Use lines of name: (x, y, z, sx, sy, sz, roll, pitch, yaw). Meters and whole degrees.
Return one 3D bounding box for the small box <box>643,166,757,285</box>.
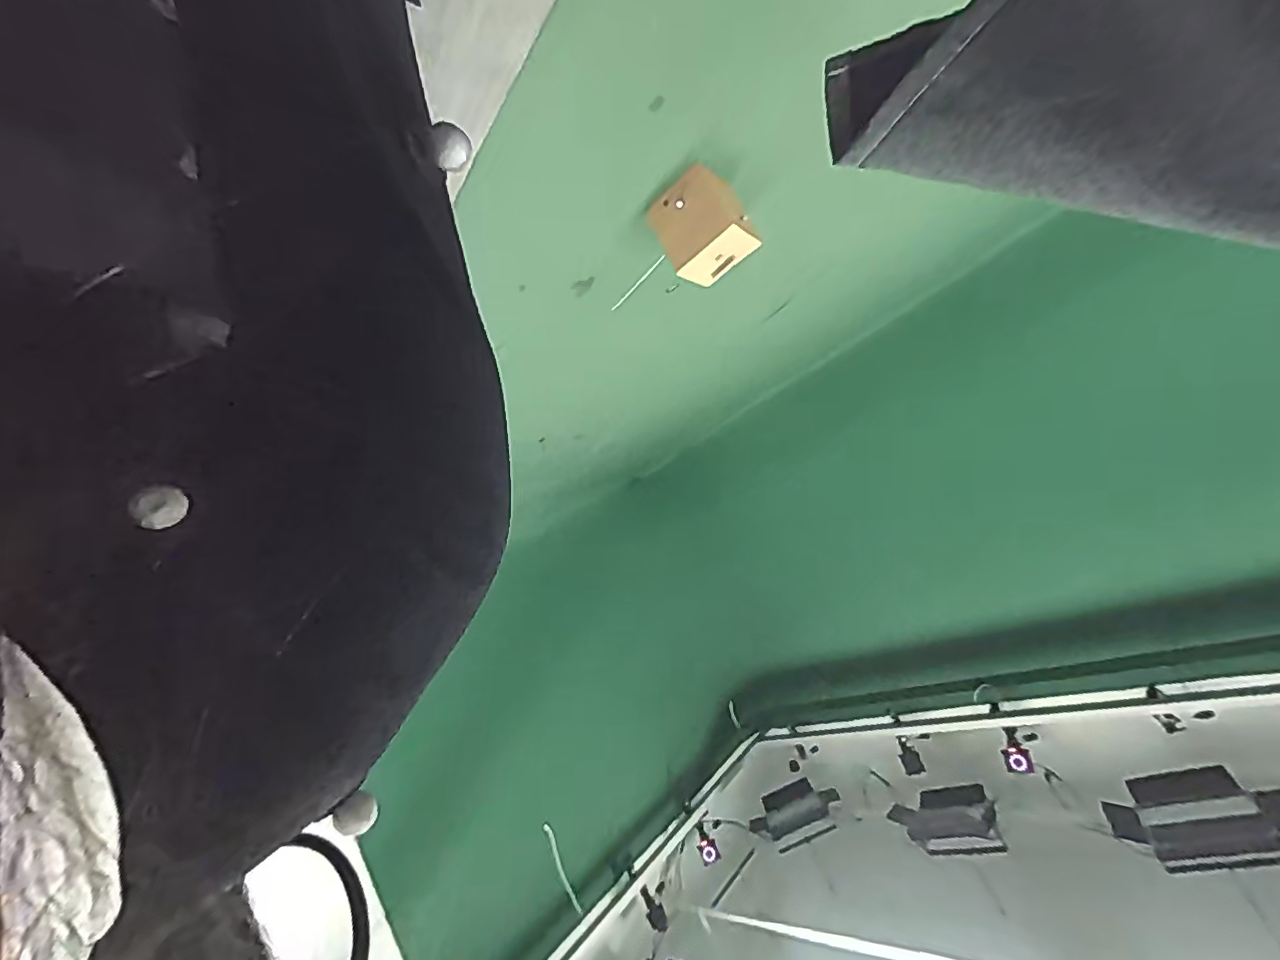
small box: (0.139, -0.586, 1.257, 0.168, 0.176, 0.179, -32, 170, 31)
